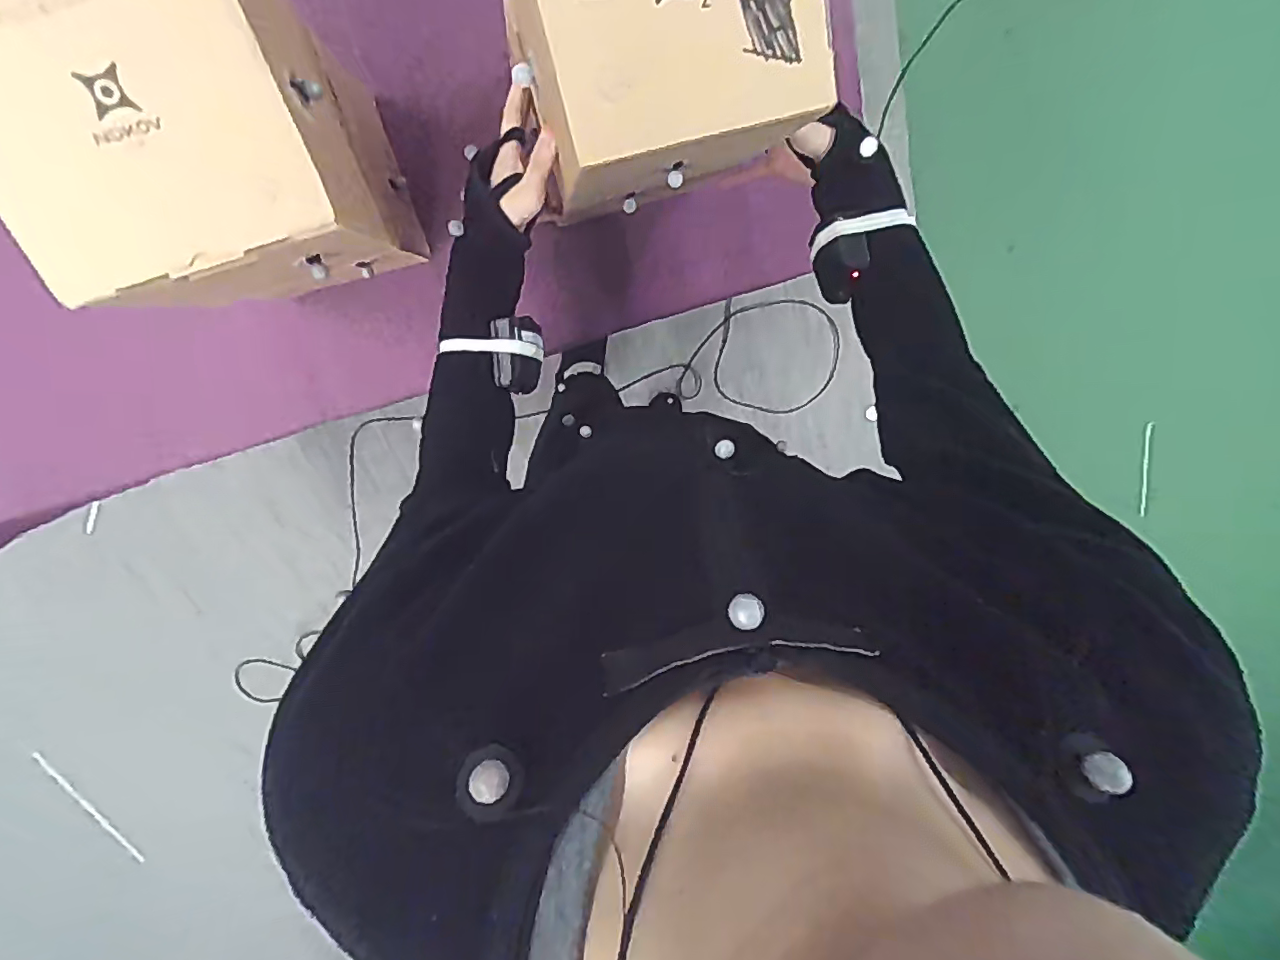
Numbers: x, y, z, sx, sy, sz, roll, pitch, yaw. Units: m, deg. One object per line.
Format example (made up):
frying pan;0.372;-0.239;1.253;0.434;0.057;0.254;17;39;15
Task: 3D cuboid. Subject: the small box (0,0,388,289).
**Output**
small box;-0.298;-0.239;0.363;0.168;0.176;0.179;-20;110;-5

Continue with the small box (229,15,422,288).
small box;-0.334;-0.287;0.513;0.179;0.176;0.168;-17;110;-5

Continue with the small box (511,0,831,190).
small box;0.008;-0.325;0.384;0.179;0.176;0.168;-16;110;-4
